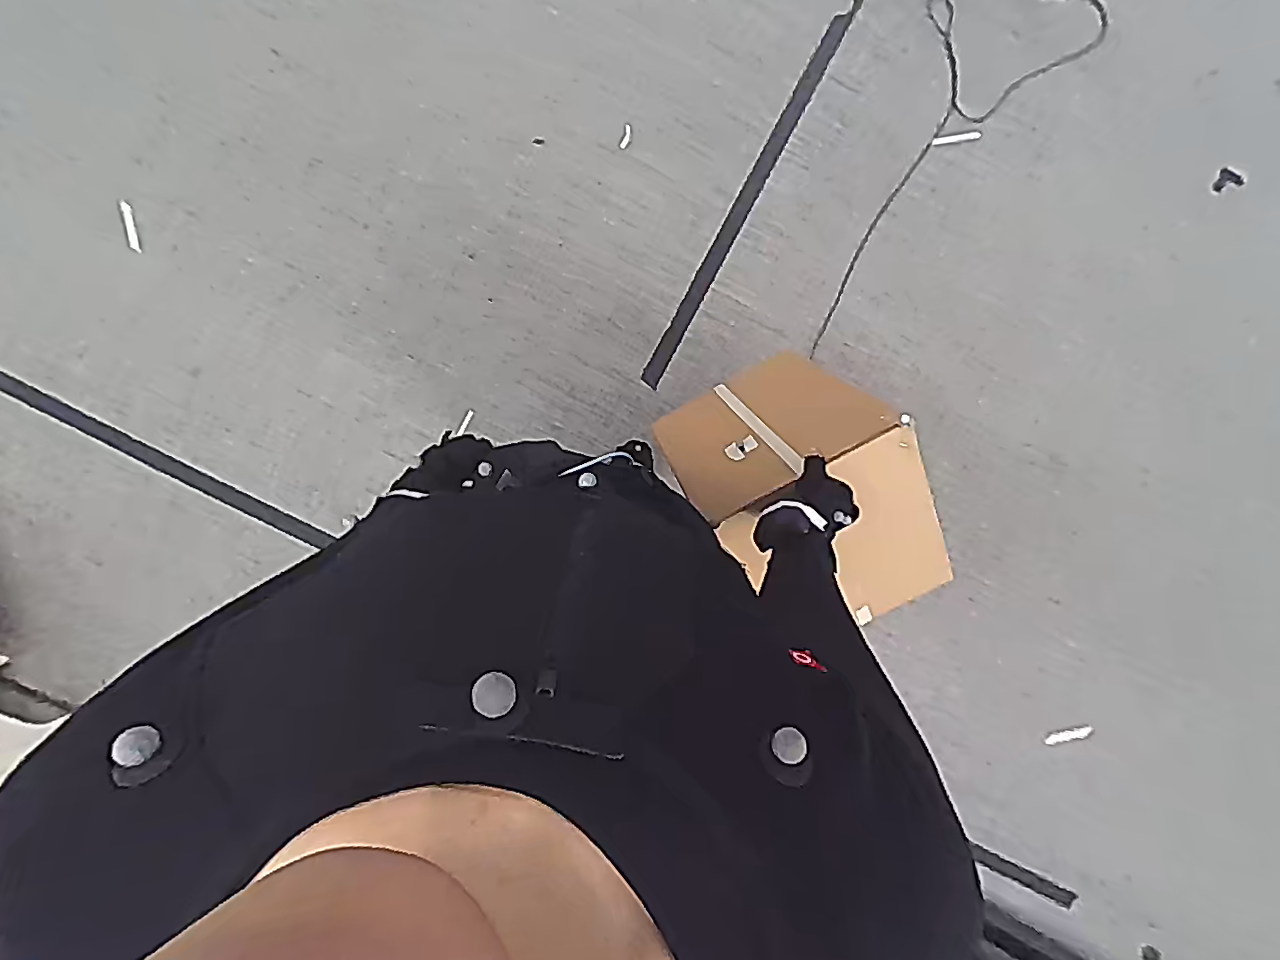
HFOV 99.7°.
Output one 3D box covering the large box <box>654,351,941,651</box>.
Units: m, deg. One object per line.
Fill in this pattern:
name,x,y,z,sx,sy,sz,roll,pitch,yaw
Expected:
large box,0.260,0.017,0.983,0.320,0.408,0.320,-29,120,5
